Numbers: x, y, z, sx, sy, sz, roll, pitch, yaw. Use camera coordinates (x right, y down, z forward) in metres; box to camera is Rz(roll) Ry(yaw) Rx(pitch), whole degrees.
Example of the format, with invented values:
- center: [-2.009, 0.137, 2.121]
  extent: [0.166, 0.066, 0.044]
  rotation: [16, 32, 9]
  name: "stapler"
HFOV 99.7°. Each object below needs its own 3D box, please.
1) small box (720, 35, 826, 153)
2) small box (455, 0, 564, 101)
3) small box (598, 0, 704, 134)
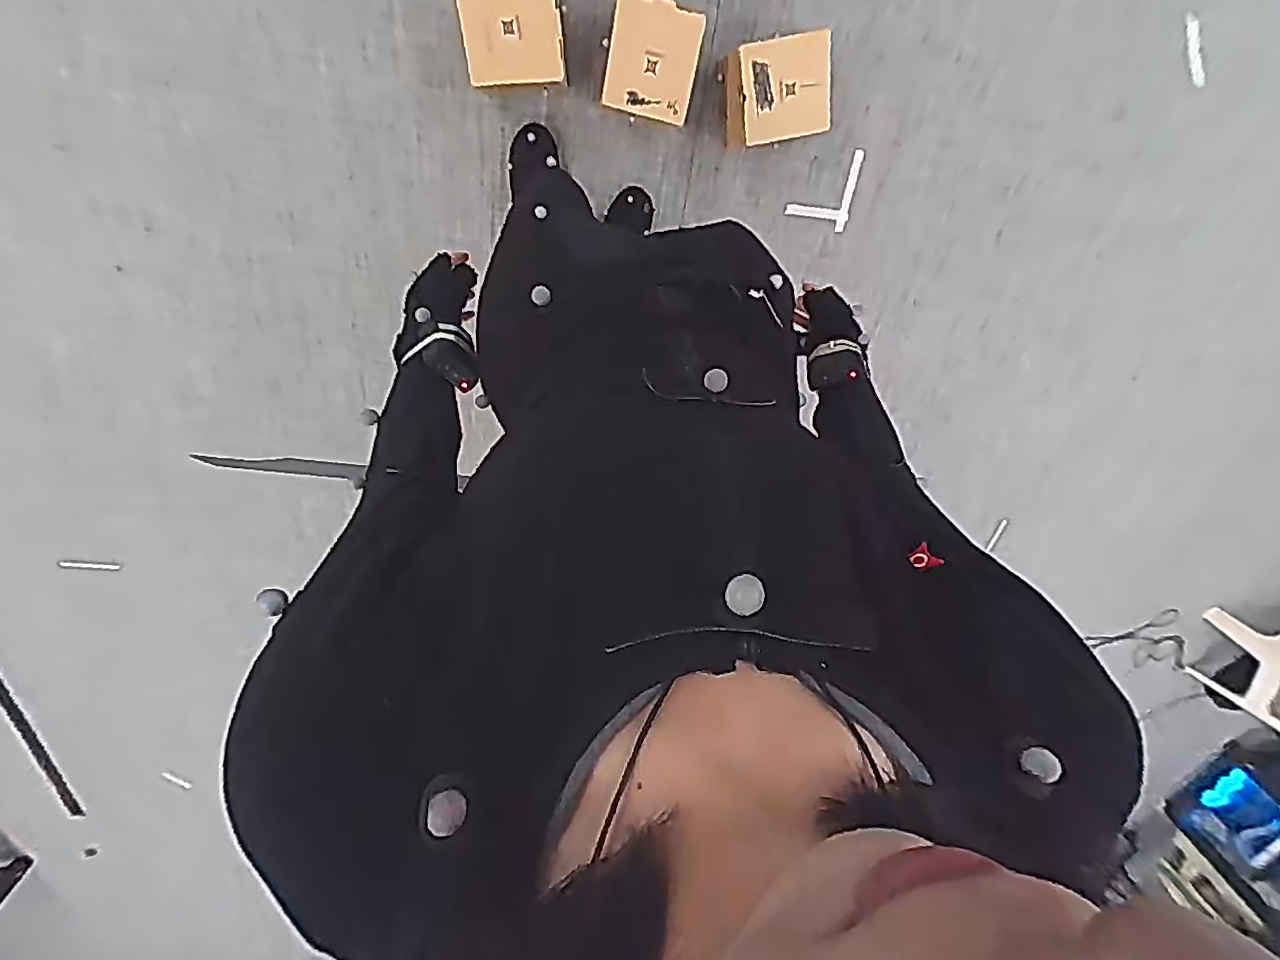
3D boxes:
- center: [0.268, -0.787, 1.118]
  extent: [0.179, 0.176, 0.168]
  rotation: [-11, 120, -1]
  name: "small box"
- center: [-0.240, -0.840, 1.036]
  extent: [0.179, 0.176, 0.168]
  rotation: [-6, 119, -2]
  name: "small box"
- center: [0.012, -0.814, 1.077]
  extent: [0.168, 0.176, 0.179]
  rotation: [8, 118, -11]
  name: "small box"
